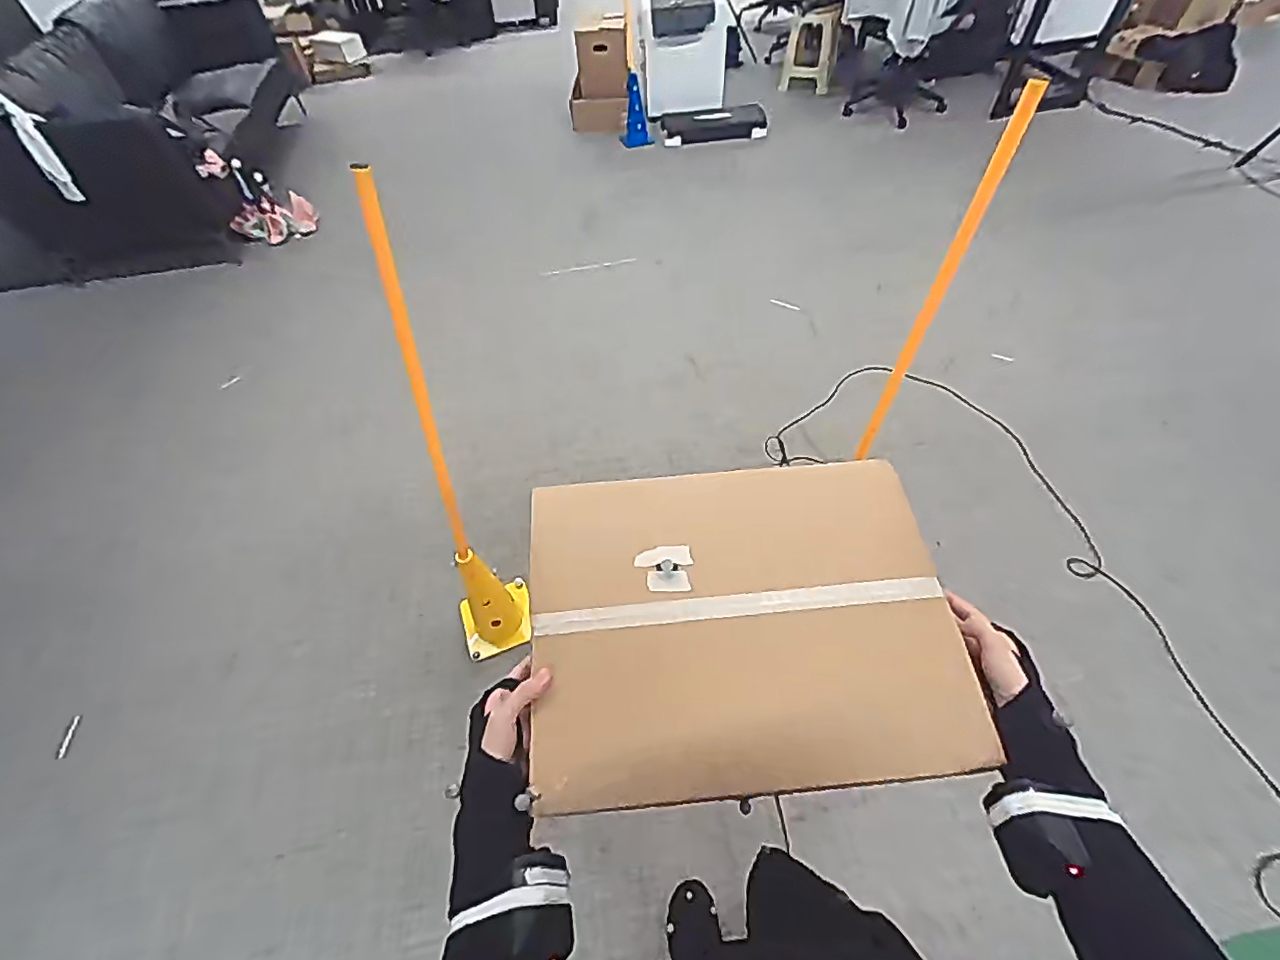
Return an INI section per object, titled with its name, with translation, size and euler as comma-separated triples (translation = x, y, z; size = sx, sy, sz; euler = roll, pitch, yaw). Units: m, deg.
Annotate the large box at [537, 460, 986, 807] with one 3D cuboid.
[large box]
translation = 0.103, 0.204, 0.674
size = 0.408, 0.320, 0.320
euler = -6, 58, -1
